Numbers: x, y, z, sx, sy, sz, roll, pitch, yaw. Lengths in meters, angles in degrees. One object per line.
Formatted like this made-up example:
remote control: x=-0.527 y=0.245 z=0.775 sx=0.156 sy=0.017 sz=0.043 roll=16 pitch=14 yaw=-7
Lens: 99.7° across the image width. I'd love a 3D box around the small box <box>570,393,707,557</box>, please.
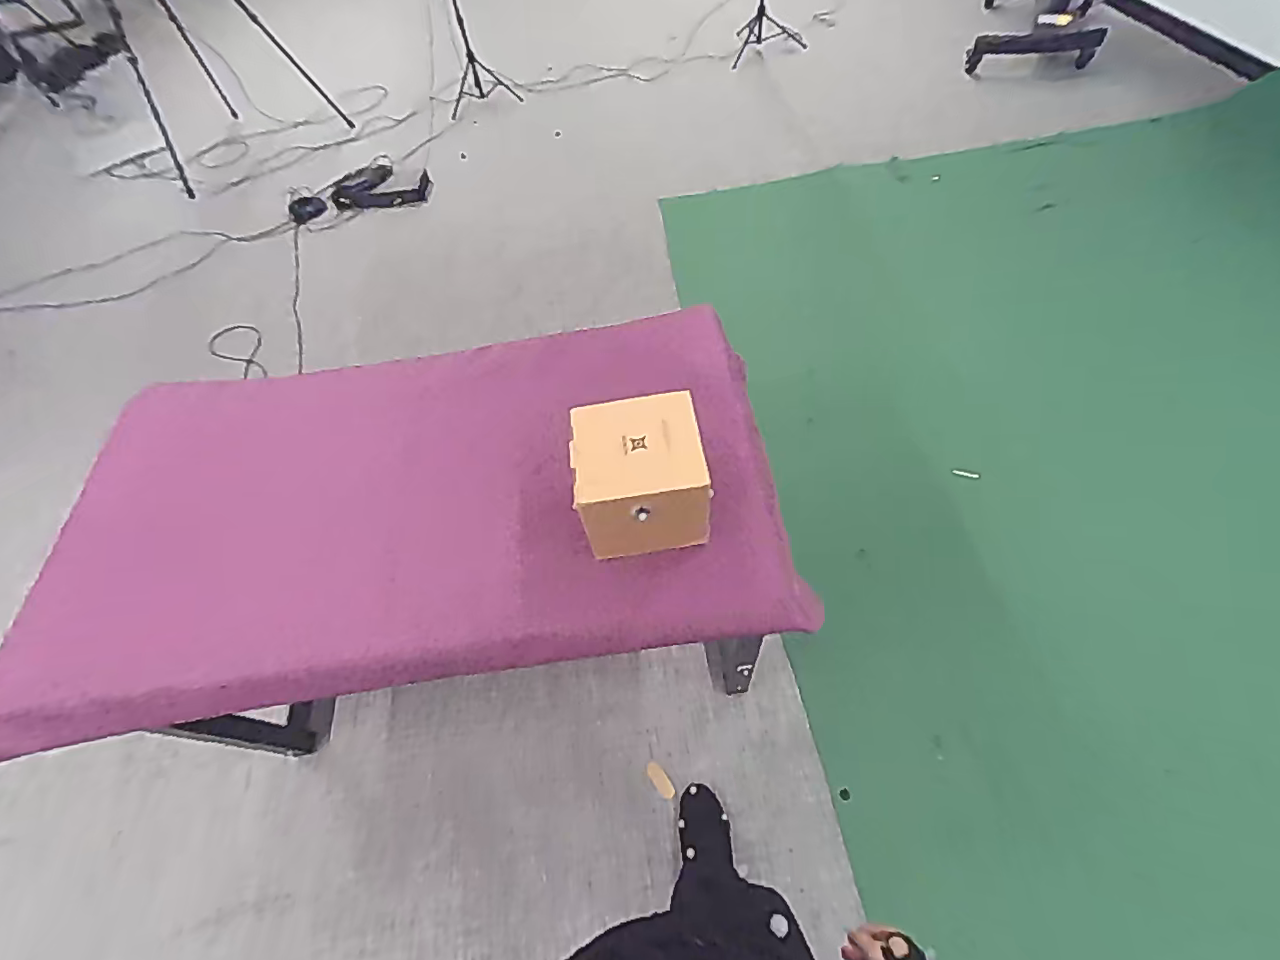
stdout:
small box: x=0.001 y=-0.001 z=0.790 sx=0.179 sy=0.176 sz=0.168 roll=-7 pitch=55 yaw=1
